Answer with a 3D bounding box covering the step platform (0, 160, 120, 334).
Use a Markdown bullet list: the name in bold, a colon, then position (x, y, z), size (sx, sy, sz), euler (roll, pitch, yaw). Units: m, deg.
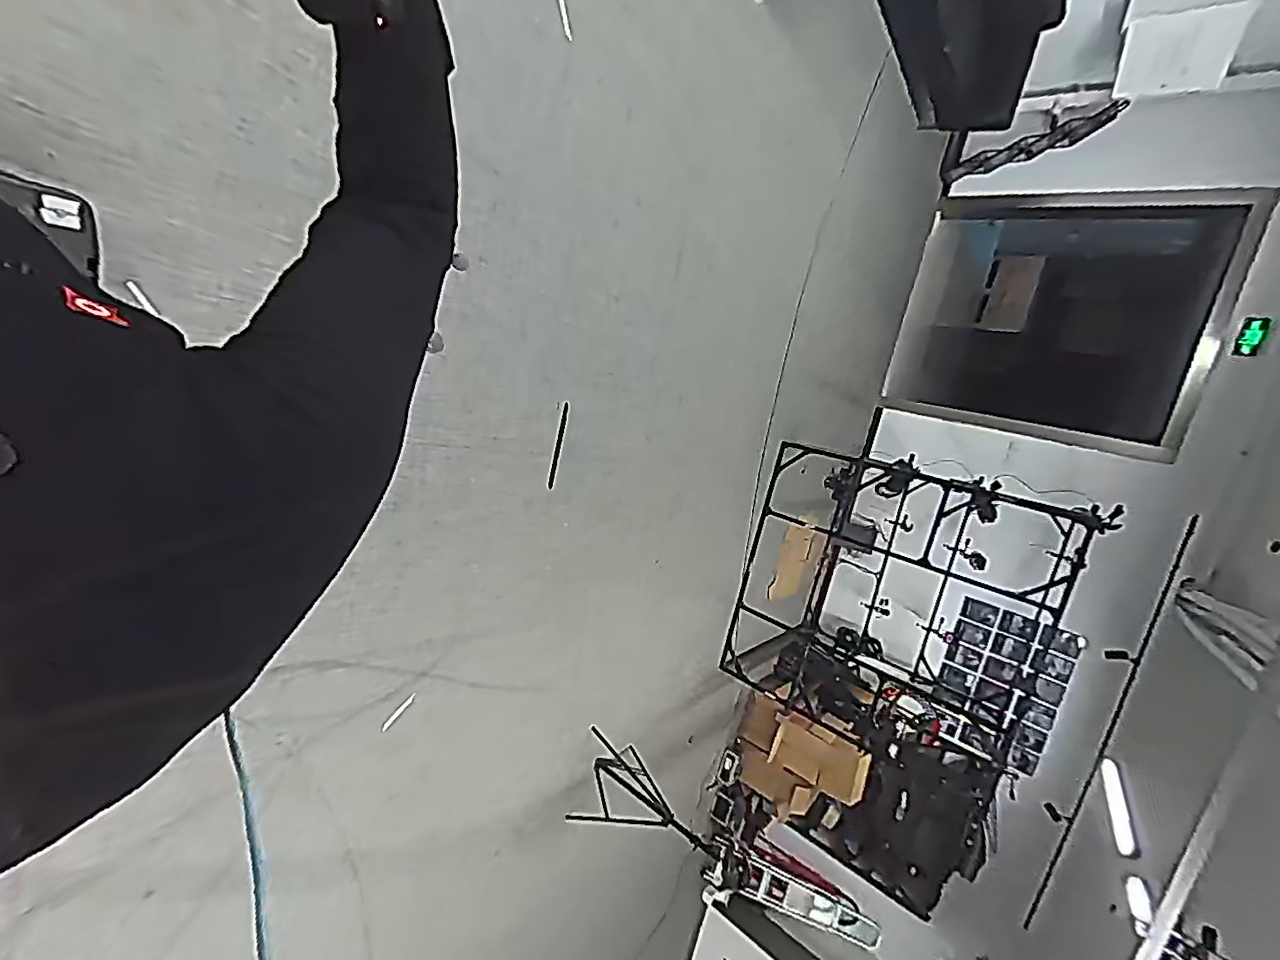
- **step platform**: position (-1.291, -0.435, 0.850), size (0.684, 0.204, 0.286), euler (-2, 108, -54)
